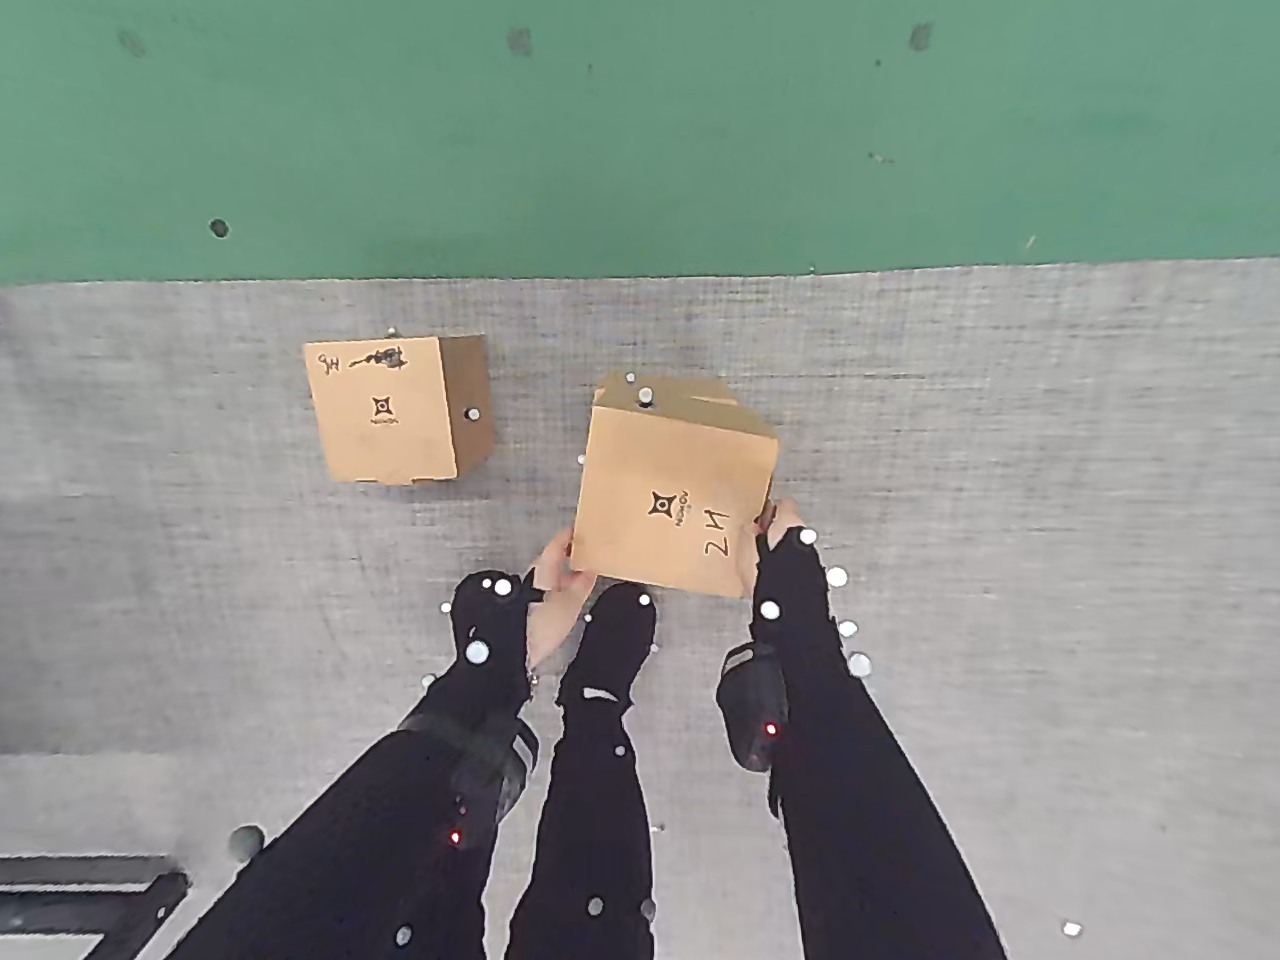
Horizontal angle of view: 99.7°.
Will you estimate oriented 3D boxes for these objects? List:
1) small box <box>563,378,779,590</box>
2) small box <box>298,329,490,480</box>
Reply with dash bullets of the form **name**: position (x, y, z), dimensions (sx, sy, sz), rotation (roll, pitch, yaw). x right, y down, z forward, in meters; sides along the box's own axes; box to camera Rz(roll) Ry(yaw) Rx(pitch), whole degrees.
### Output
- **small box**: position (0.027, -0.008, 0.575), dimensions (0.179, 0.176, 0.168), rotation (10, 108, -2)
- **small box**: position (-0.311, -0.108, 0.726), dimensions (0.168, 0.176, 0.179), rotation (-2, 106, 2)
